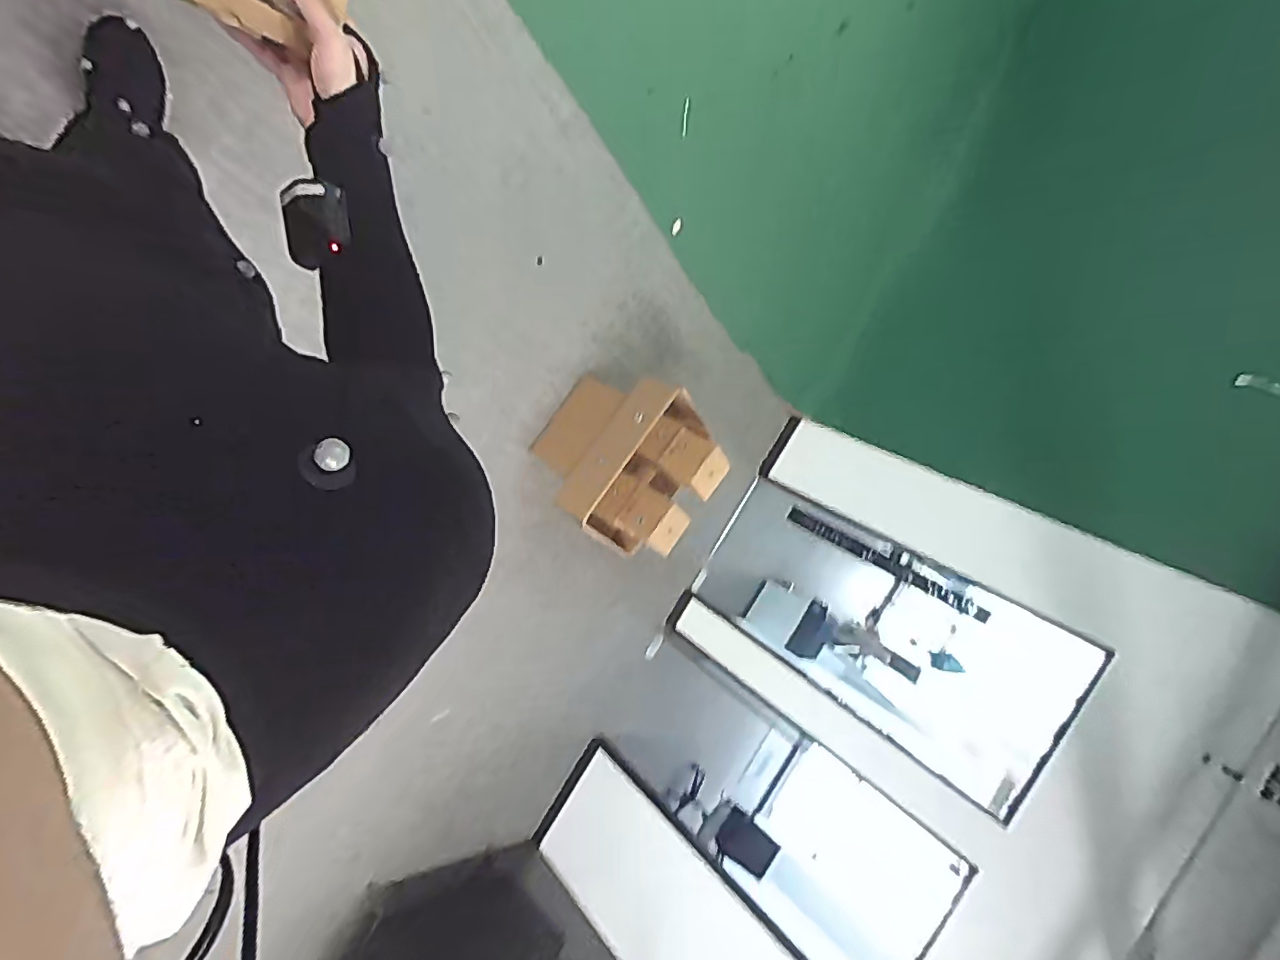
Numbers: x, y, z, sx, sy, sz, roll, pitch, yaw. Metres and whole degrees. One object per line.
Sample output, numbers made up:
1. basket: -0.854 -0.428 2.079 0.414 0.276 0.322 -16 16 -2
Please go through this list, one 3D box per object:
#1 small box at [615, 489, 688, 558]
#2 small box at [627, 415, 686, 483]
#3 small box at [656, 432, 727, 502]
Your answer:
1. small box: 0.040 0.153 1.967 0.168 0.176 0.179 -54 146 -6
2. small box: 0.081 -0.125 2.101 0.179 0.176 0.168 -53 145 -7
3. small box: 0.190 -0.051 2.003 0.168 0.176 0.179 -52 145 -7
